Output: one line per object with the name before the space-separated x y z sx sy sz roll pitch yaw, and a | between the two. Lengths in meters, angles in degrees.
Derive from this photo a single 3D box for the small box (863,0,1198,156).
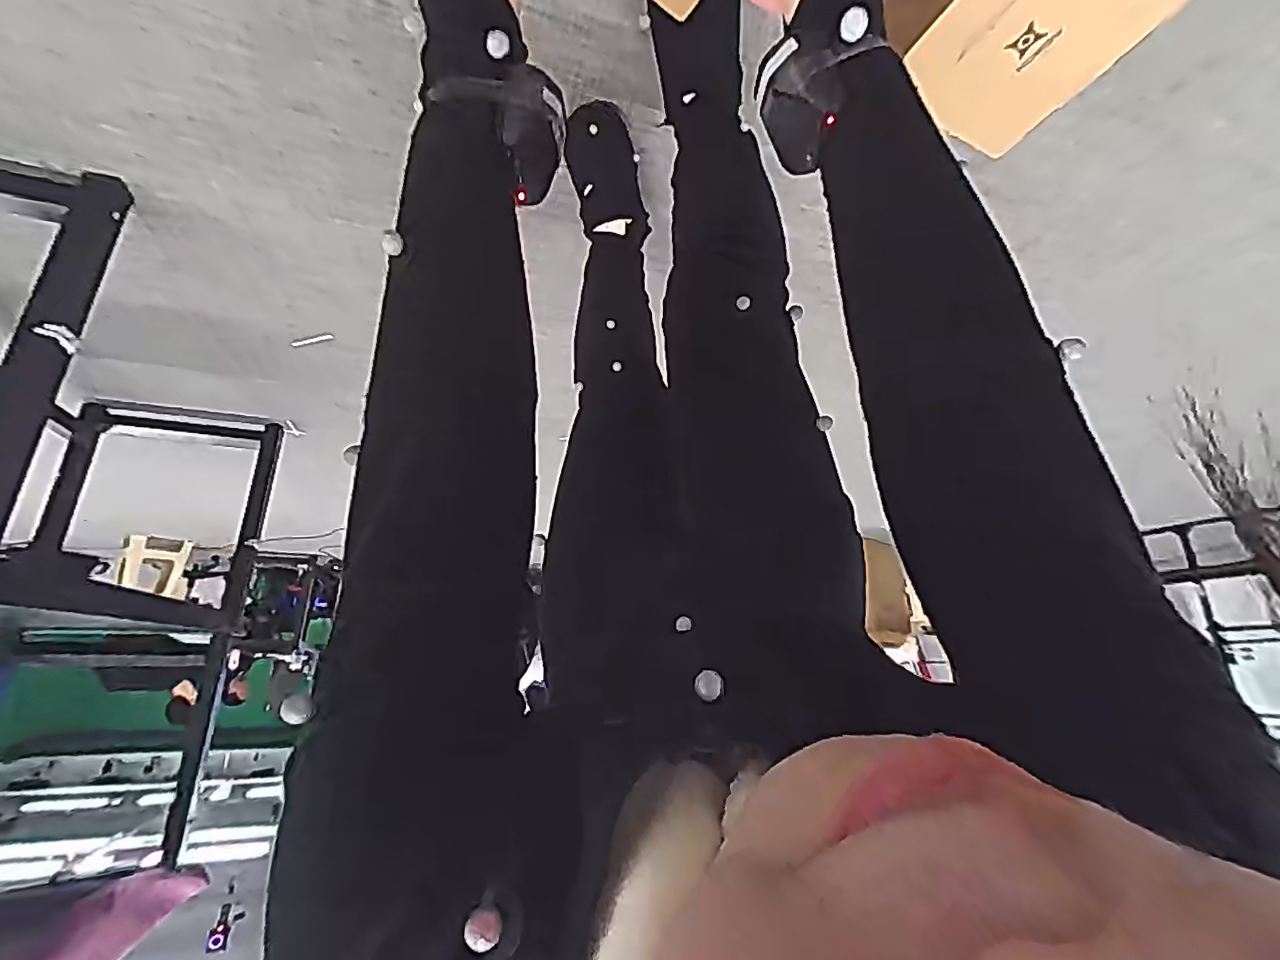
small box | 0.321 -0.439 0.470 0.179 0.176 0.168 9 159 -26
